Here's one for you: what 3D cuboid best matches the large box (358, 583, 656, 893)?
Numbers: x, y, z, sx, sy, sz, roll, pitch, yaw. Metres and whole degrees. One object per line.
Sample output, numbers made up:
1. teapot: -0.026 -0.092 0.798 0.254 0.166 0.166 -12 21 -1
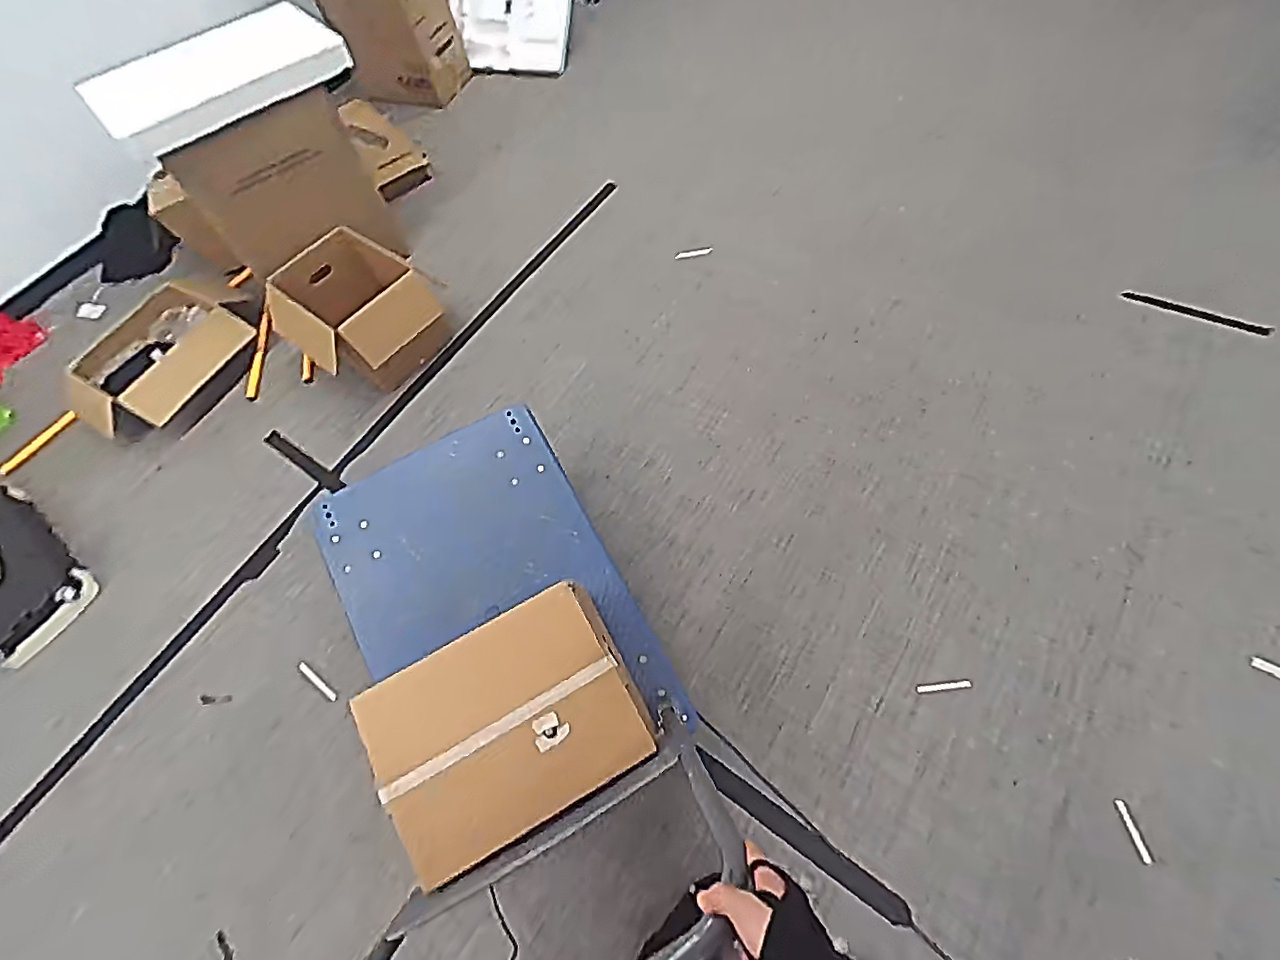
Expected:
1. large box: -0.219 0.443 1.015 0.408 0.320 0.320 -29 77 -9
